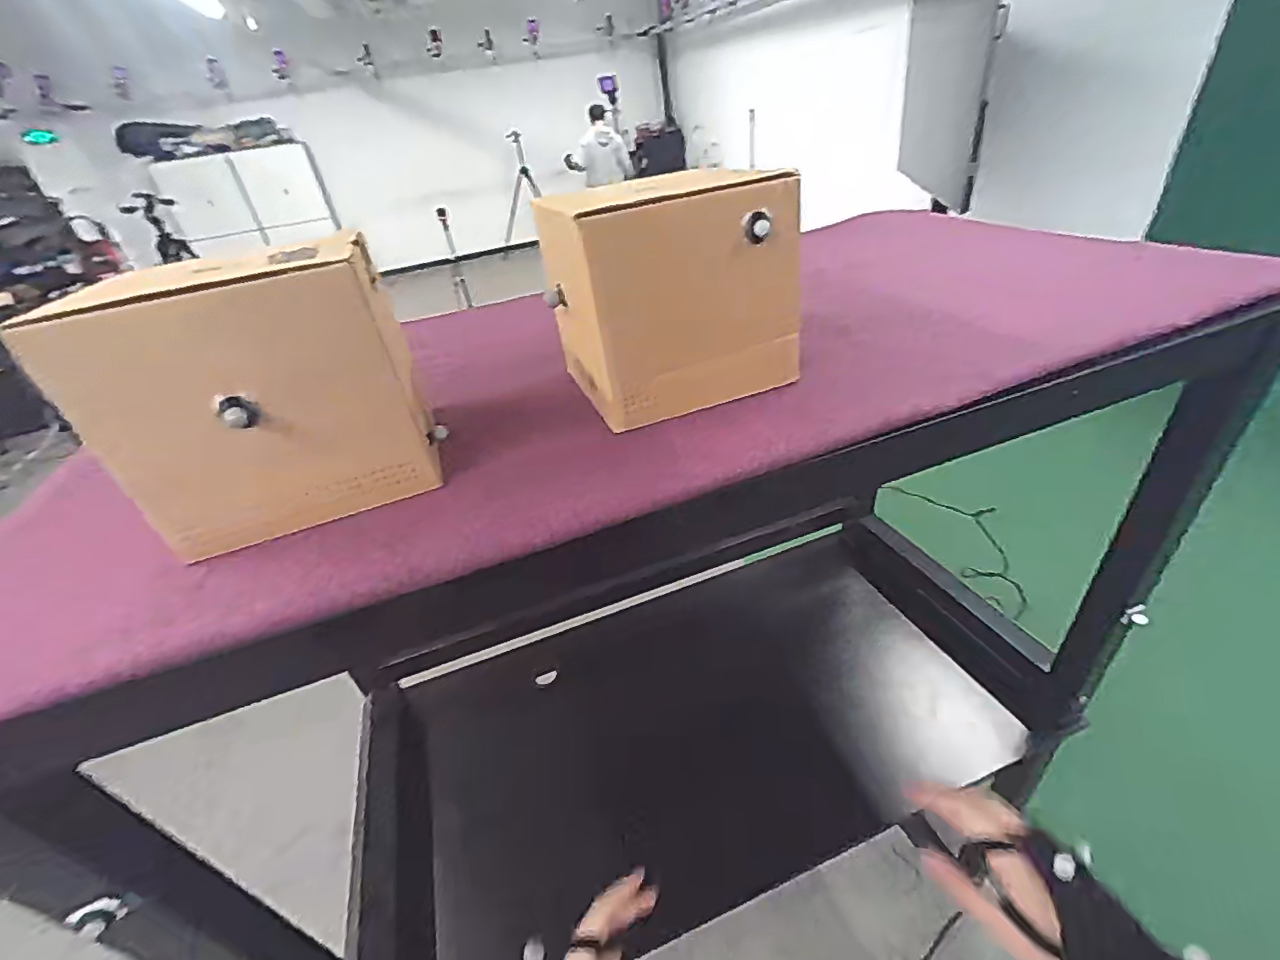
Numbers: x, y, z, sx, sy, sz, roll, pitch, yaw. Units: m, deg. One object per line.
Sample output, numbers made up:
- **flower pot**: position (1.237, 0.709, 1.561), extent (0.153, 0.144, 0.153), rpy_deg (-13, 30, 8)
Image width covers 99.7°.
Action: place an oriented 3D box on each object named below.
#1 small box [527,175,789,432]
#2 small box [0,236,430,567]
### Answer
- **small box**: position (0.017, -0.161, 0.480), extent (0.179, 0.176, 0.168), rpy_deg (-18, 34, -12)
- **small box**: position (-0.269, -0.067, 0.404), extent (0.179, 0.176, 0.168), rpy_deg (-20, 35, -14)
